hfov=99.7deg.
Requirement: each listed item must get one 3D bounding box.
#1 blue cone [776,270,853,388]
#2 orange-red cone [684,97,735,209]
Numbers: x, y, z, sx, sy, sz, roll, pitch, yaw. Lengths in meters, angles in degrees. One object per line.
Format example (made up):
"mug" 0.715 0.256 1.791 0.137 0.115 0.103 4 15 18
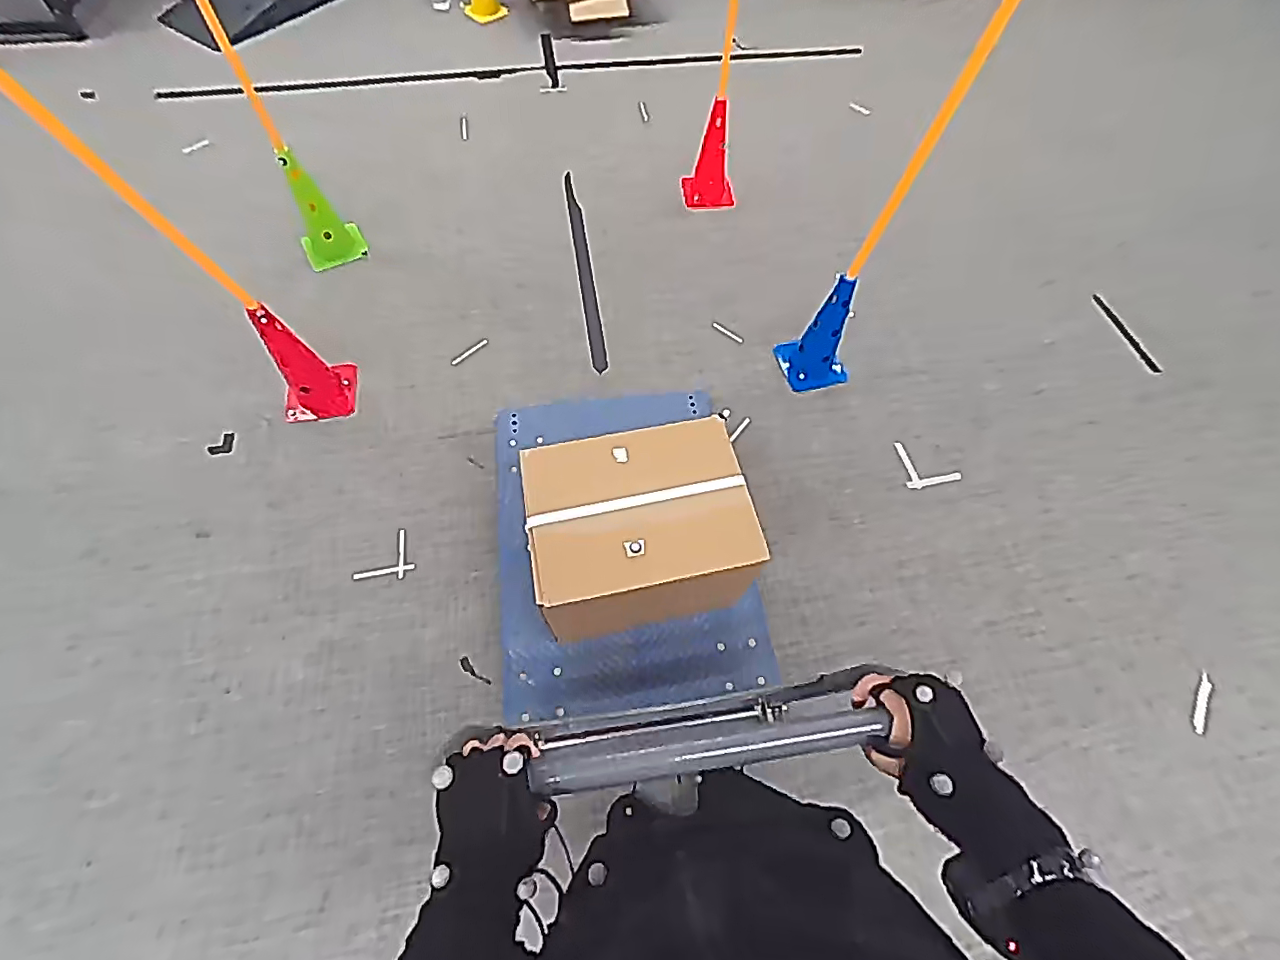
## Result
"blue cone" 0.567 -0.466 1.642 0.193 0.380 0.192 -12 62 -8
"orange-red cone" 0.285 -1.240 2.032 0.199 0.360 0.198 -2 63 -4
